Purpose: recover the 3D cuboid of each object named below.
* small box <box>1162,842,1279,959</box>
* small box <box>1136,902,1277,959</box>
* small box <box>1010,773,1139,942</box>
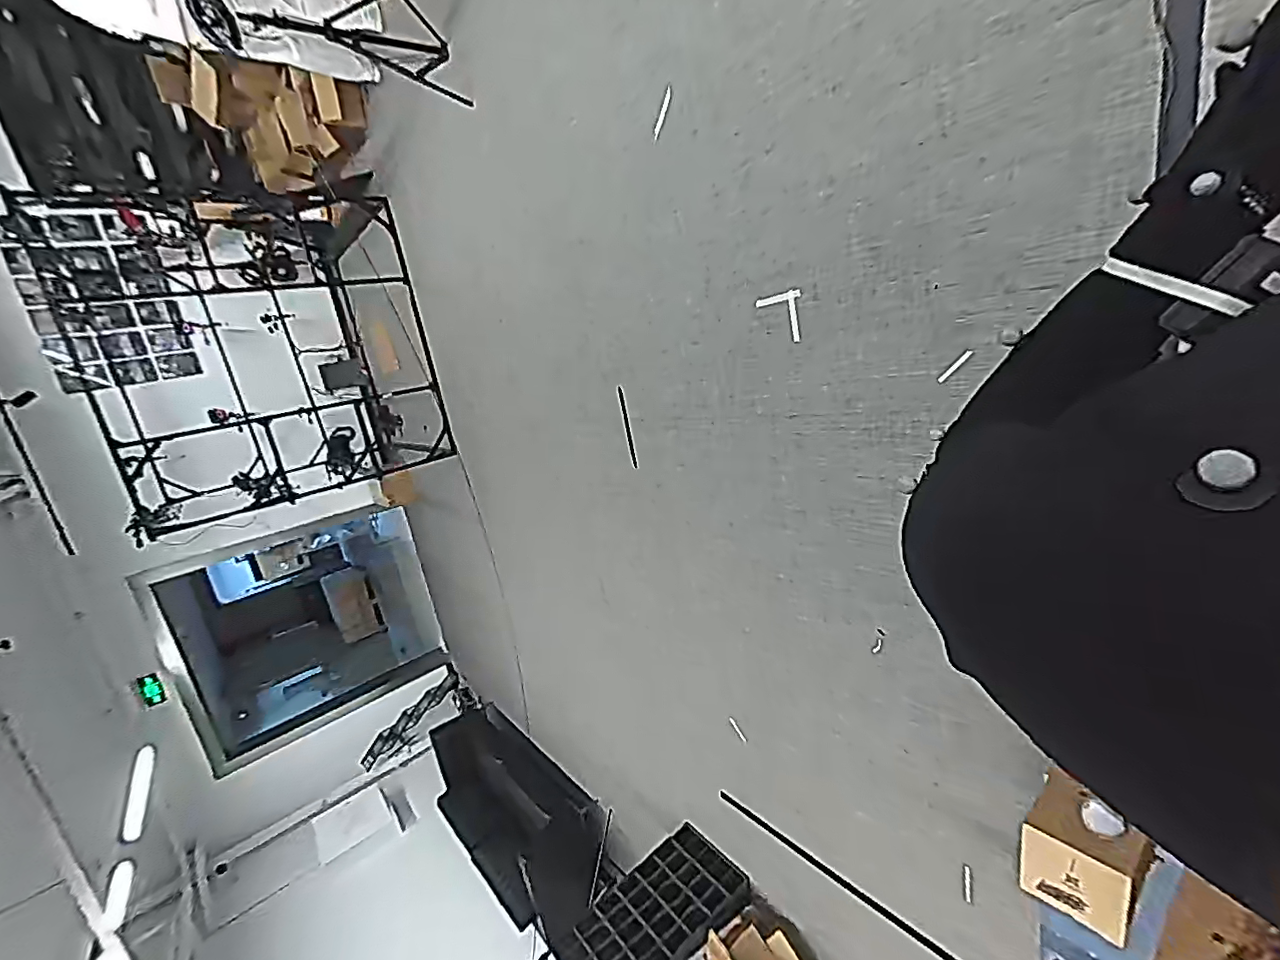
[{"bbox_3d":[1.004,0.766,0.909,0.168,0.176,0.179,4,109,53],"label":"small box"},{"bbox_3d":[0.874,0.817,0.824,0.168,0.176,0.179,7,112,52],"label":"small box"},{"bbox_3d":[0.866,0.740,1.080,0.168,0.176,0.179,11,115,50],"label":"small box"}]
